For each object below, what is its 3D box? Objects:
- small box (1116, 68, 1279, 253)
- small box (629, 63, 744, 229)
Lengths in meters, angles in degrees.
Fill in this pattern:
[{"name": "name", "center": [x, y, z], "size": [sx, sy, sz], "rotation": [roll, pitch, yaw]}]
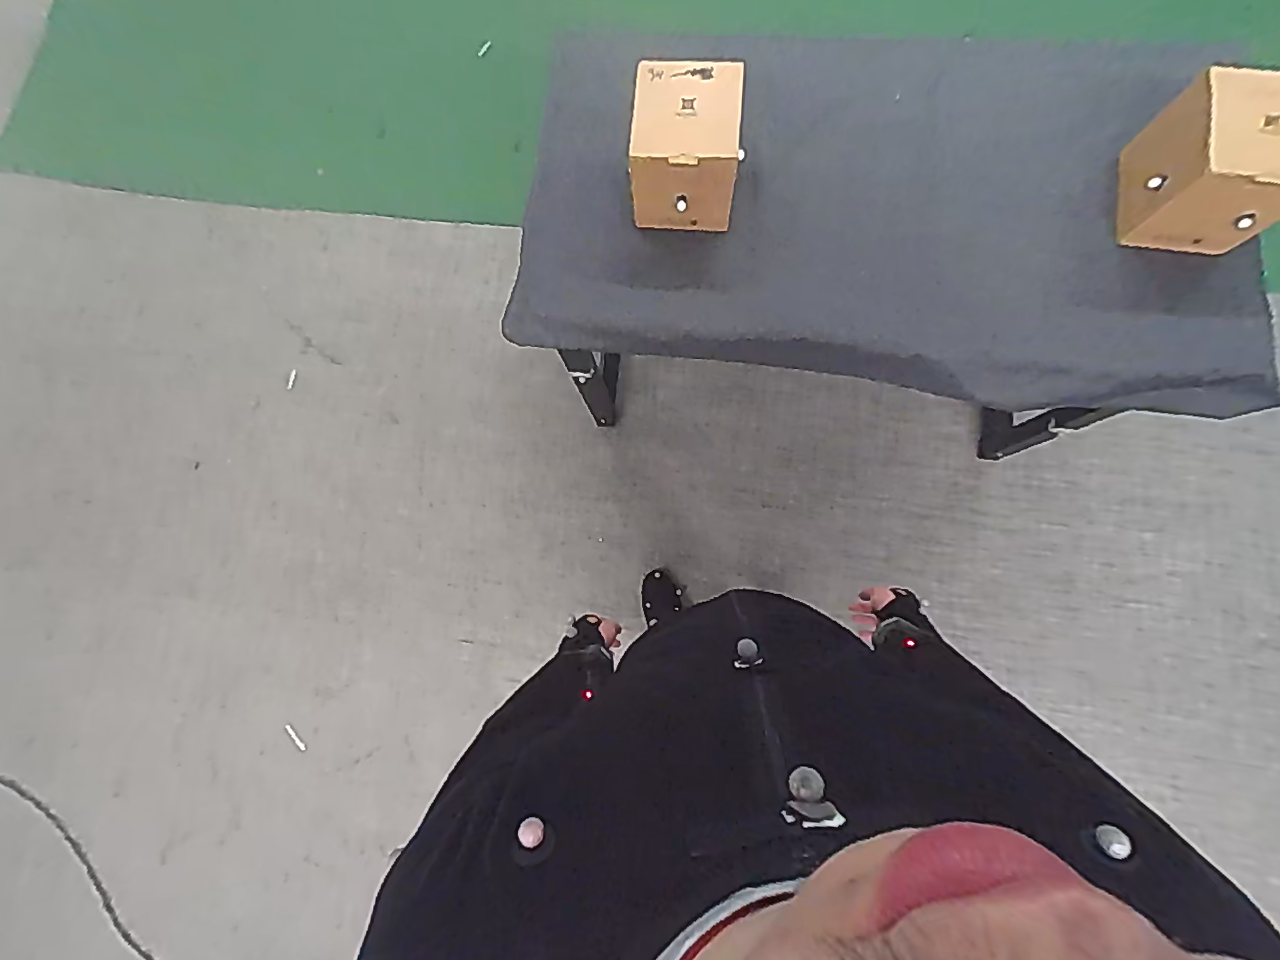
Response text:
[{"name": "small box", "center": [0.879, -0.477, 0.828], "size": [0.168, 0.176, 0.179], "rotation": [9, 79, 5]}, {"name": "small box", "center": [0.077, -0.545, 0.900], "size": [0.168, 0.176, 0.179], "rotation": [5, 80, 4]}]
